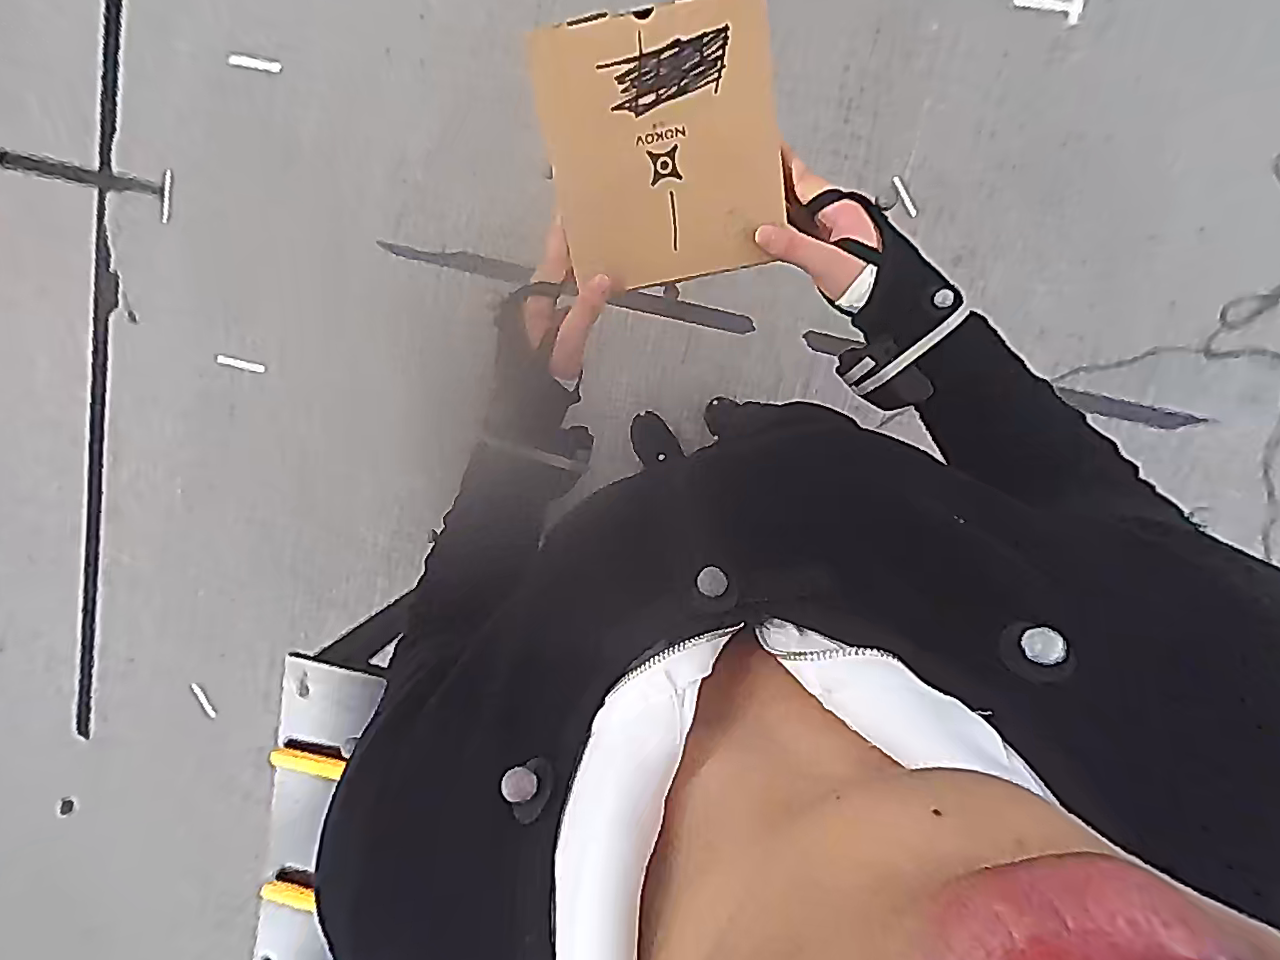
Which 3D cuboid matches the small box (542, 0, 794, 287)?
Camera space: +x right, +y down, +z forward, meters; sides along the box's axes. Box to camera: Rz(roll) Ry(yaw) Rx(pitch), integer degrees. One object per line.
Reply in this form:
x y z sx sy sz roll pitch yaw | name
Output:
0.025 -0.269 0.465 0.168 0.176 0.179 -9 109 4 | small box
